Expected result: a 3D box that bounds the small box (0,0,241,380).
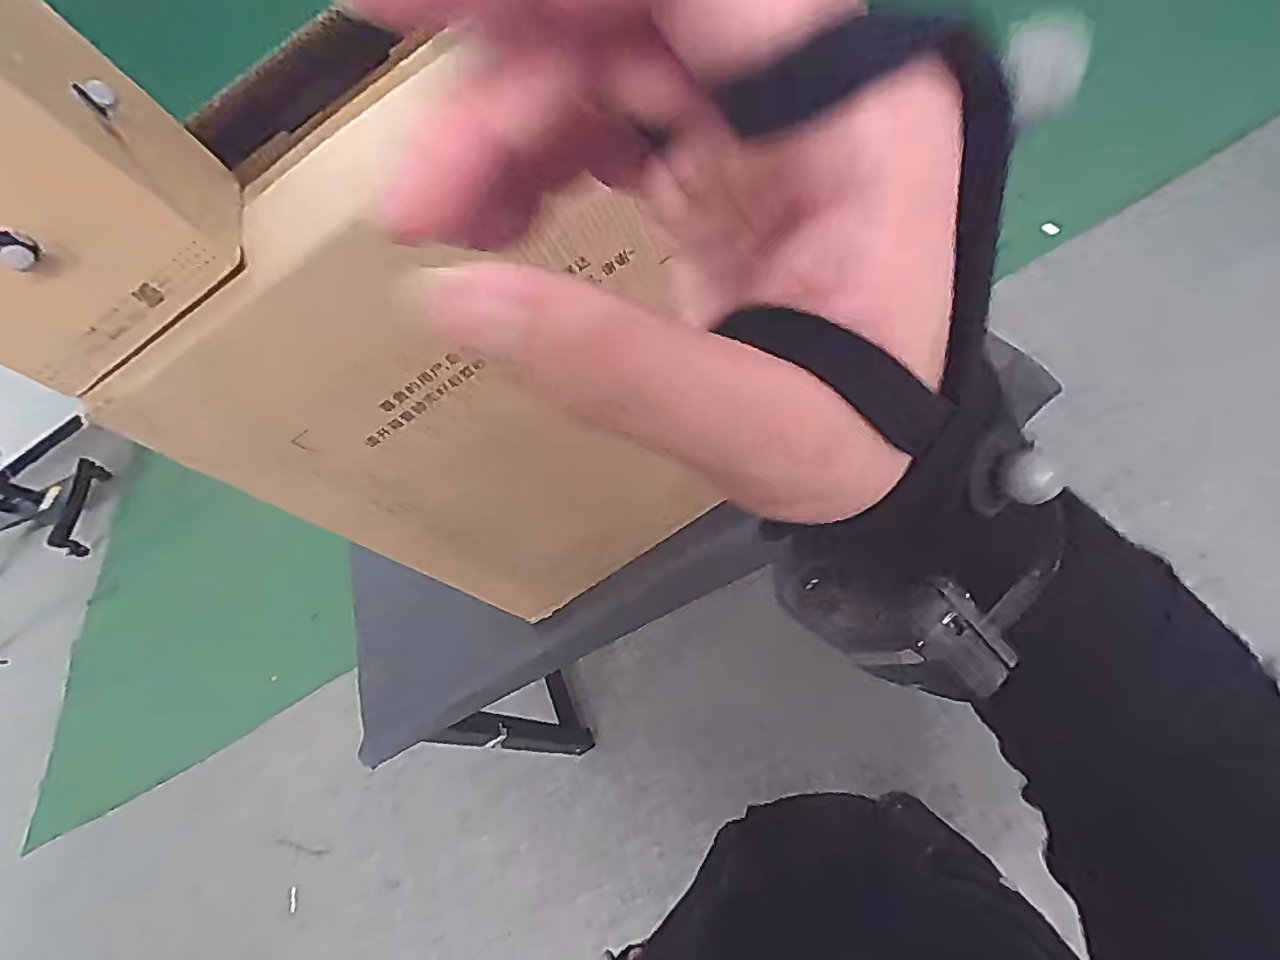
[{"bbox_3d":[-0.420,-0.197,0.381,0.168,0.176,0.179,-36,54,4],"label":"small box"}]
